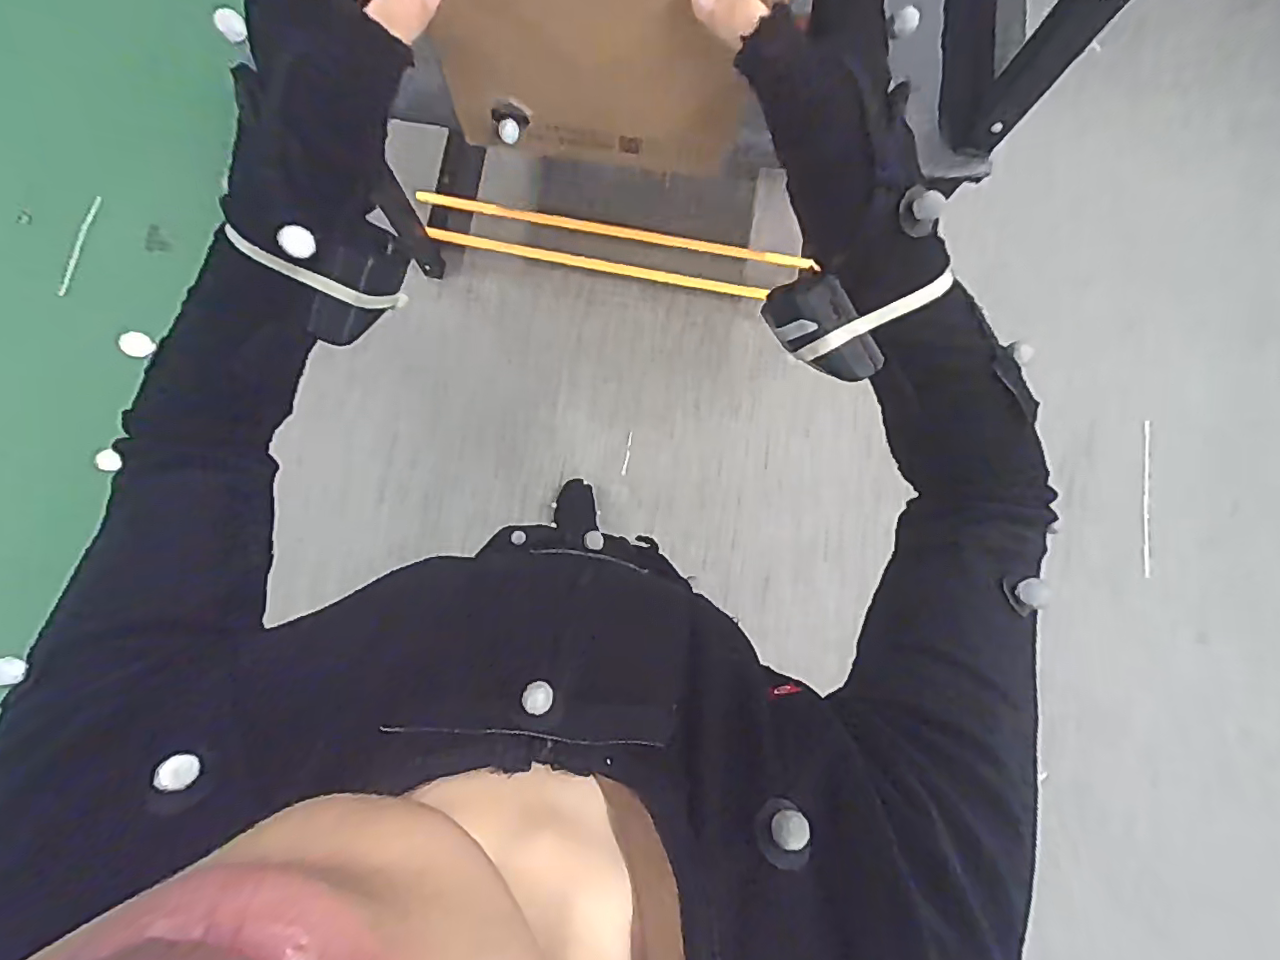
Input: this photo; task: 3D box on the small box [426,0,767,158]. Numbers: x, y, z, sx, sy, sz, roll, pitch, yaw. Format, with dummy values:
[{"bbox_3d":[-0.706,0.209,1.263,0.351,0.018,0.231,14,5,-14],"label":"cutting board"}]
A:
[{"bbox_3d":[-0.016,-0.301,0.273,0.168,0.176,0.179,5,86,-5],"label":"small box"}]
